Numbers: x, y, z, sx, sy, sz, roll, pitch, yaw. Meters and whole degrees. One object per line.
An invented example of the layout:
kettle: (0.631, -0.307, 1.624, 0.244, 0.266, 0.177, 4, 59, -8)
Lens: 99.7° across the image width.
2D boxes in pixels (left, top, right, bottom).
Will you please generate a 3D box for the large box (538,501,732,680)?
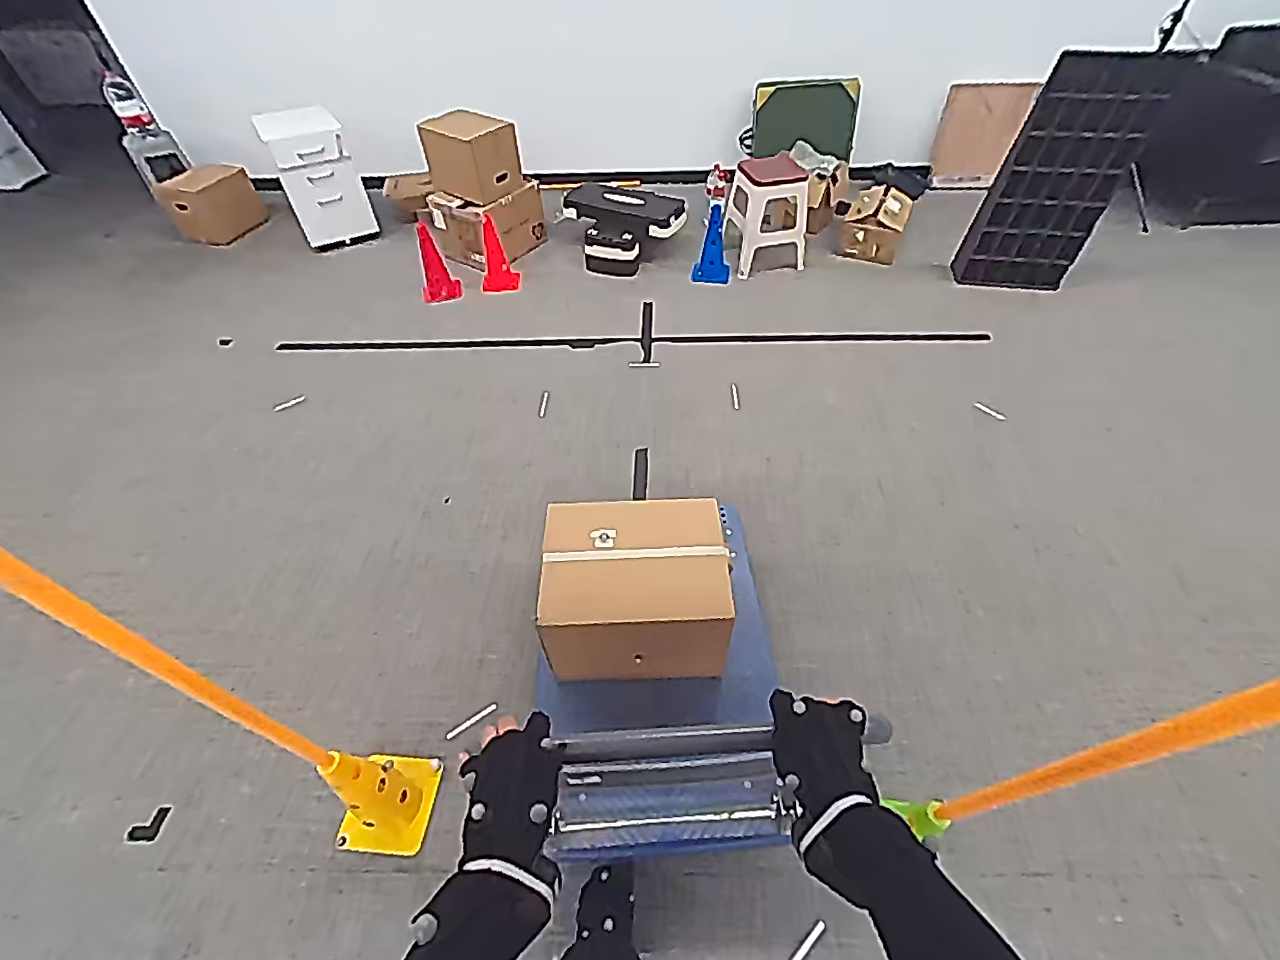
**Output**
large box: (-0.009, 0.273, 1.309, 0.408, 0.320, 0.320, -3, 49, 1)

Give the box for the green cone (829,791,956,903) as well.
green cone: (0.537, 0.710, 1.093, 0.202, 0.368, 0.200, 4, 49, 4)
